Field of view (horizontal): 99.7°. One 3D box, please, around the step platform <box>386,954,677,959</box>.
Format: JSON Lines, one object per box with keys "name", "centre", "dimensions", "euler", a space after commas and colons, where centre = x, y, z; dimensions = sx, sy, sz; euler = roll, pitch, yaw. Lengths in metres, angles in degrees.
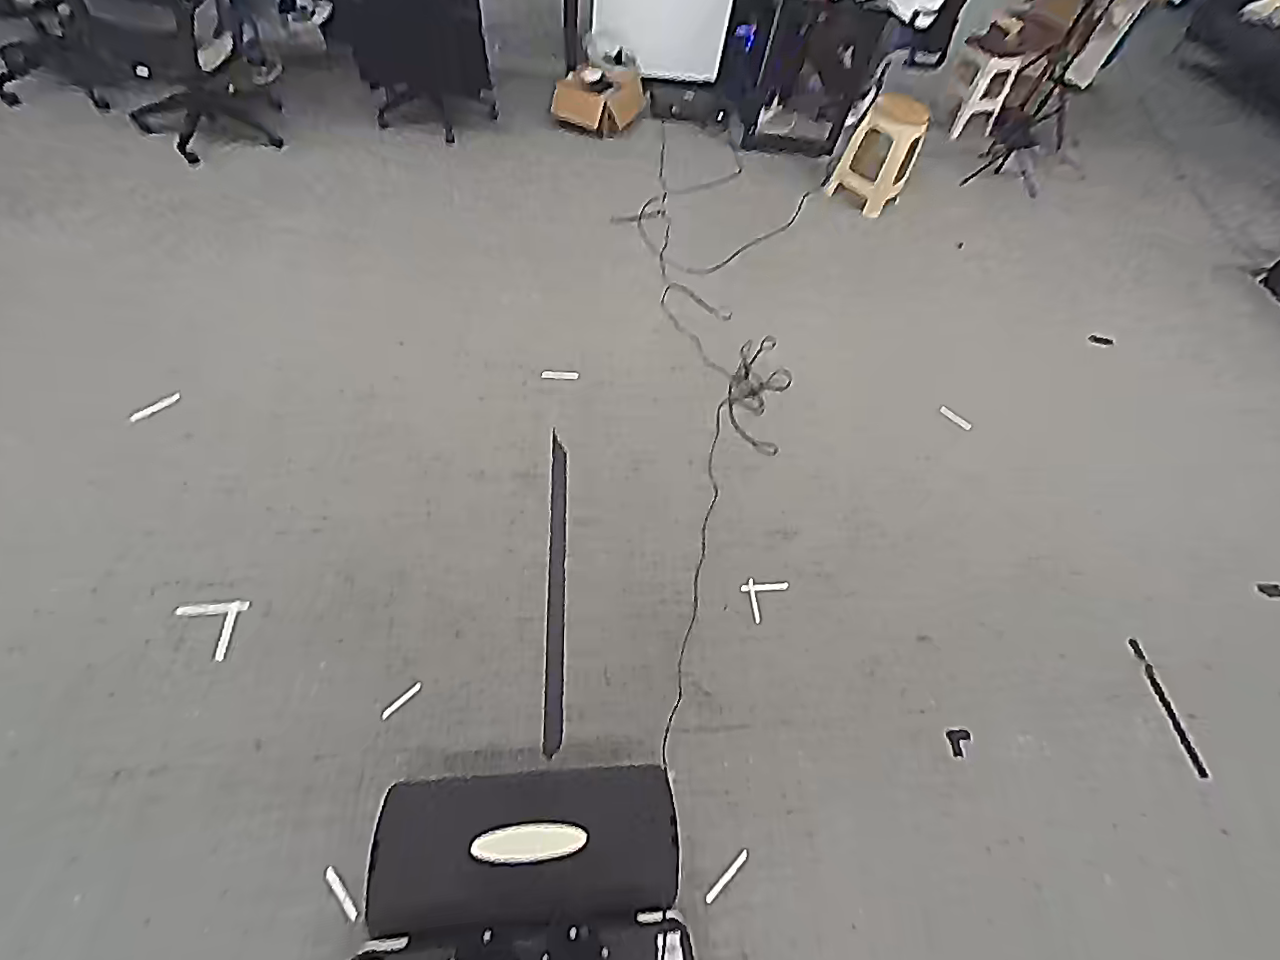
{"name": "step platform", "centre": [-0.219, 1.071, 0.992], "dimensions": [0.684, 0.204, 0.286], "euler": [4, 54, -4]}
